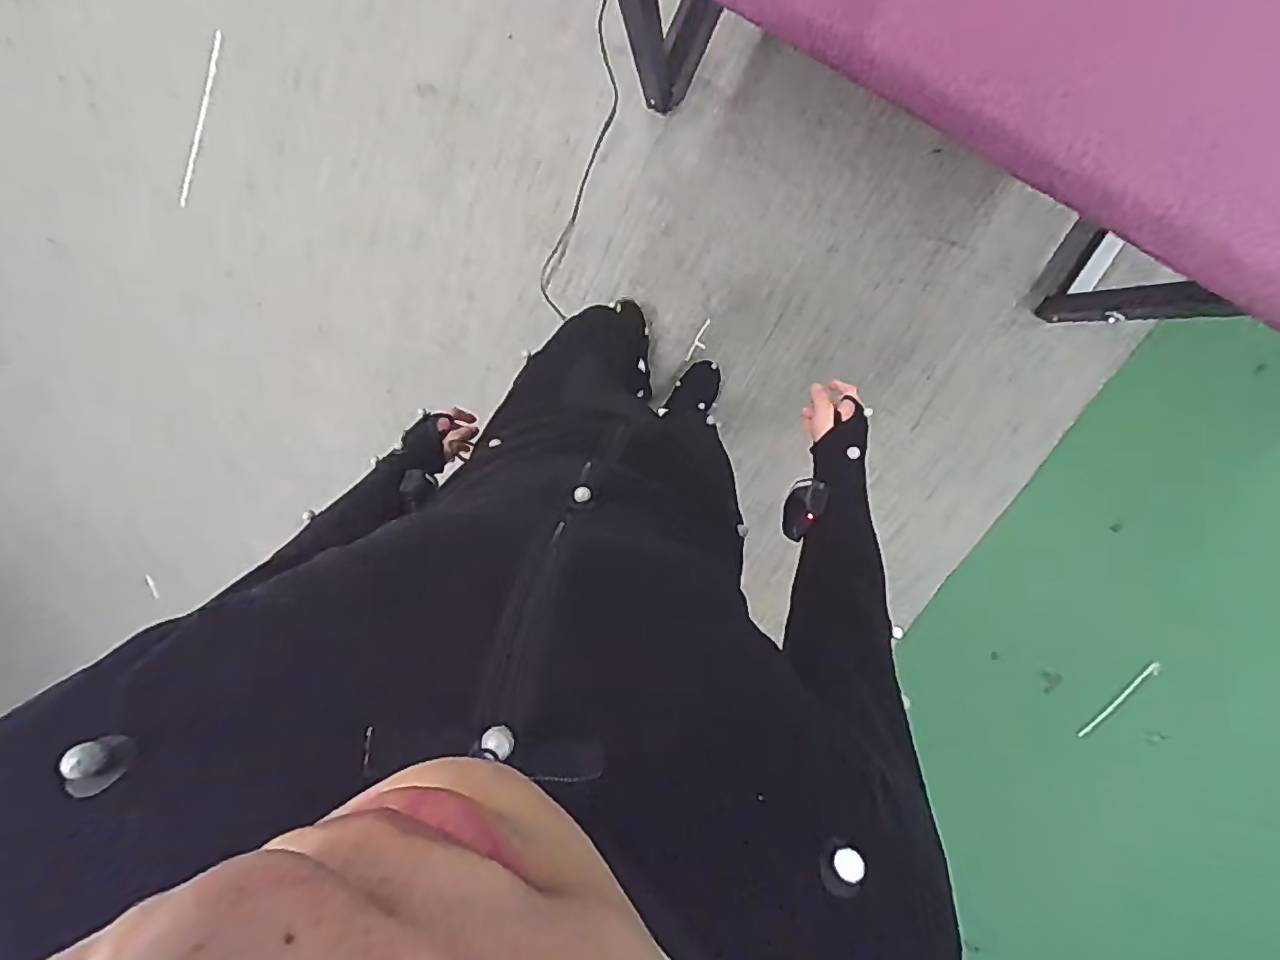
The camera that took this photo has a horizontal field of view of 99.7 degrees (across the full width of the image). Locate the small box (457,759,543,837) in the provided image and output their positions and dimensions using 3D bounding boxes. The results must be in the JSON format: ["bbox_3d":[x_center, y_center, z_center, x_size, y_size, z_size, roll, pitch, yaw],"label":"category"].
[{"bbox_3d":[-0.419,1.001,1.643,0.168,0.176,0.179,34,107,-1],"label":"small box"}]
